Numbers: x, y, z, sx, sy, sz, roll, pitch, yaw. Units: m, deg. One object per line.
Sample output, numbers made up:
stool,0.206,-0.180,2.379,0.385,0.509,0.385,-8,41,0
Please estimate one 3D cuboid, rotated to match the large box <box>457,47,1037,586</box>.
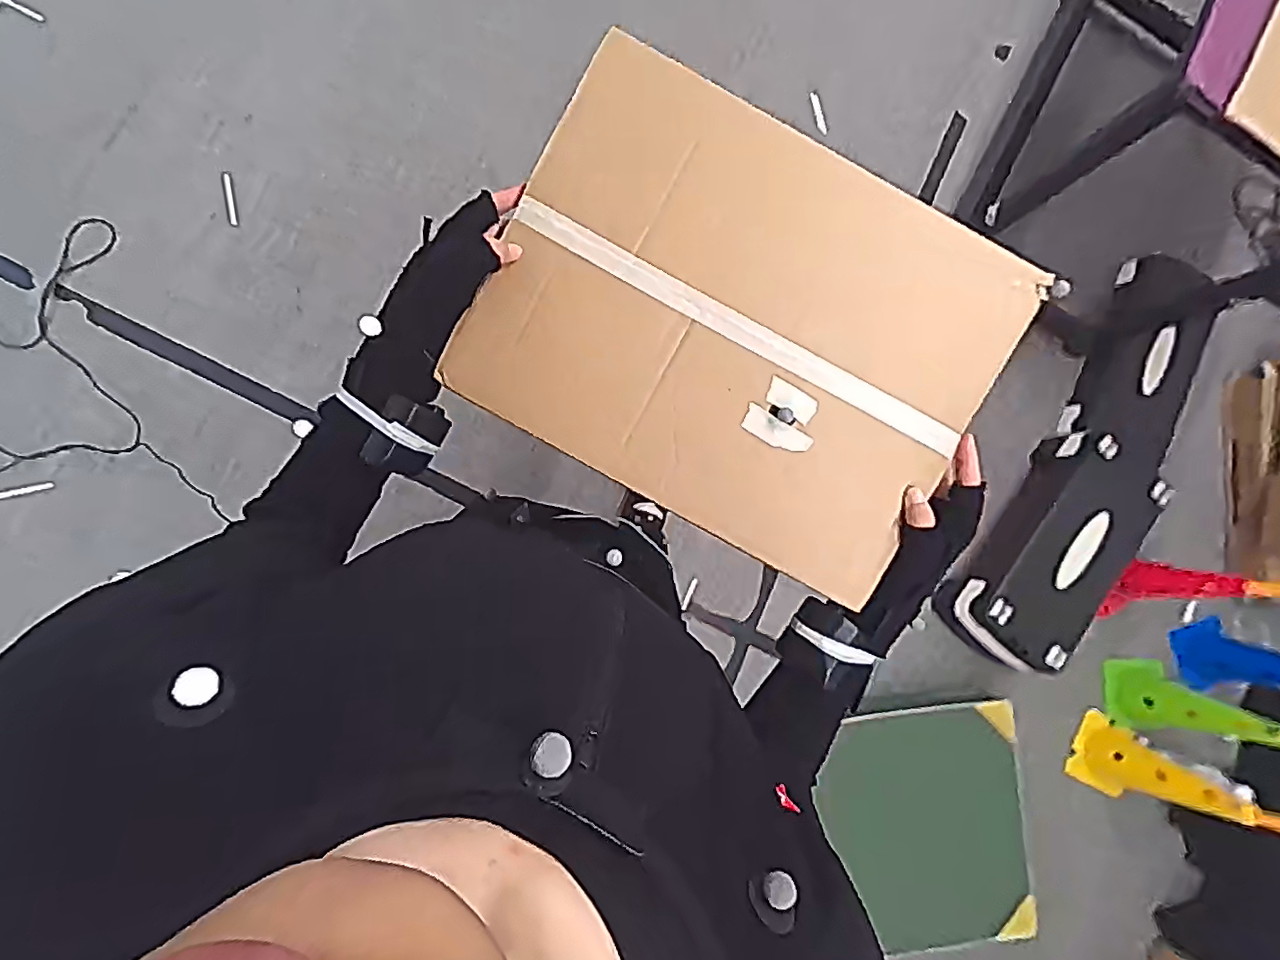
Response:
large box,0.086,-0.141,0.601,0.408,0.320,0.320,29,94,-2
